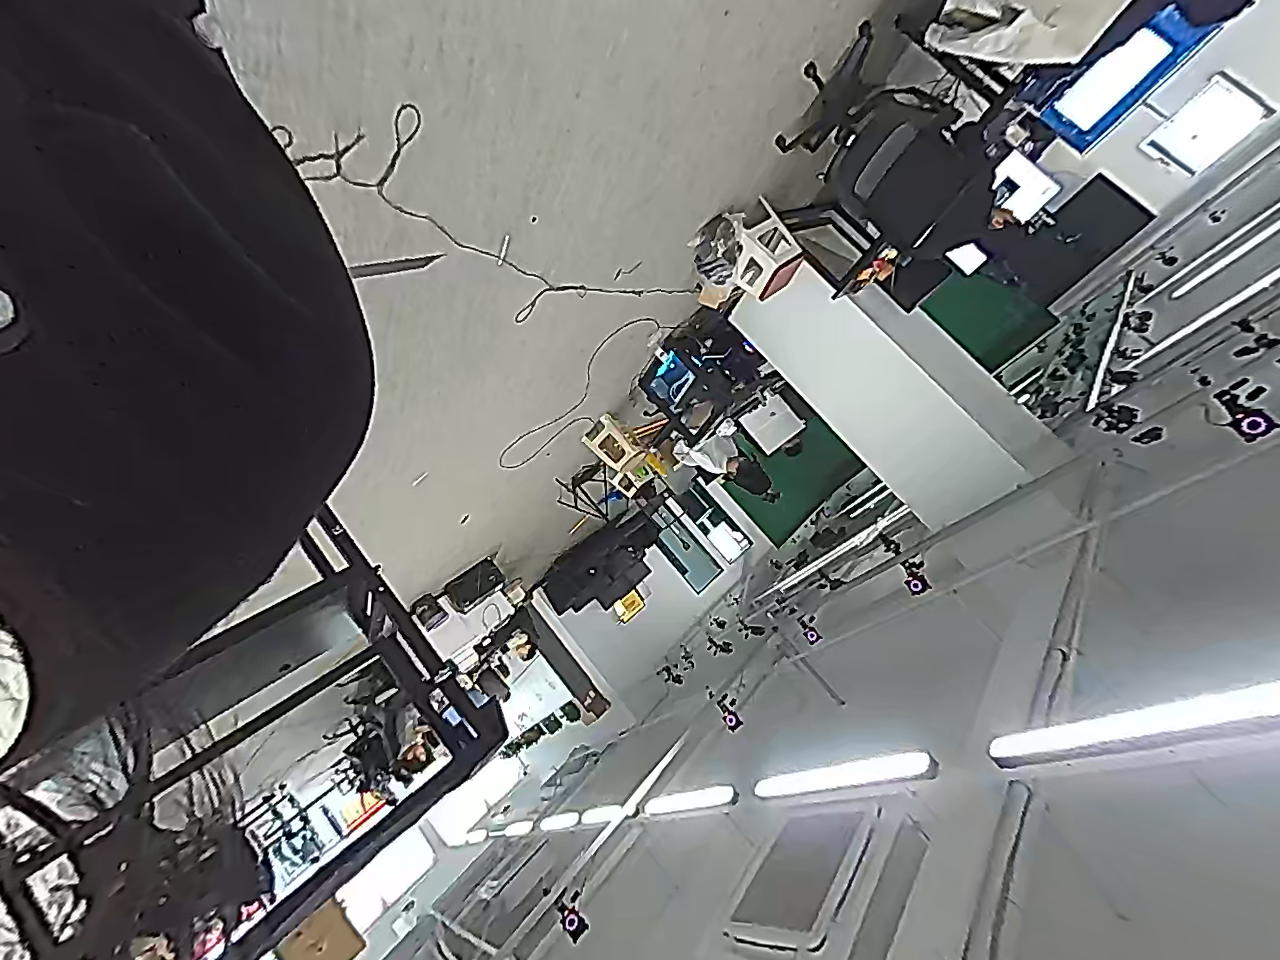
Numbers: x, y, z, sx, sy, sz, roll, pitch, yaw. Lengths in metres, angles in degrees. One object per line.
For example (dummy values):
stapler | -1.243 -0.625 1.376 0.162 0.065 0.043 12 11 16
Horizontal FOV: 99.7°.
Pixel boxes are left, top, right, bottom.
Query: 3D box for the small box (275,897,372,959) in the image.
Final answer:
small box | -0.856 1.269 1.458 0.168 0.176 0.179 -31 167 -44
